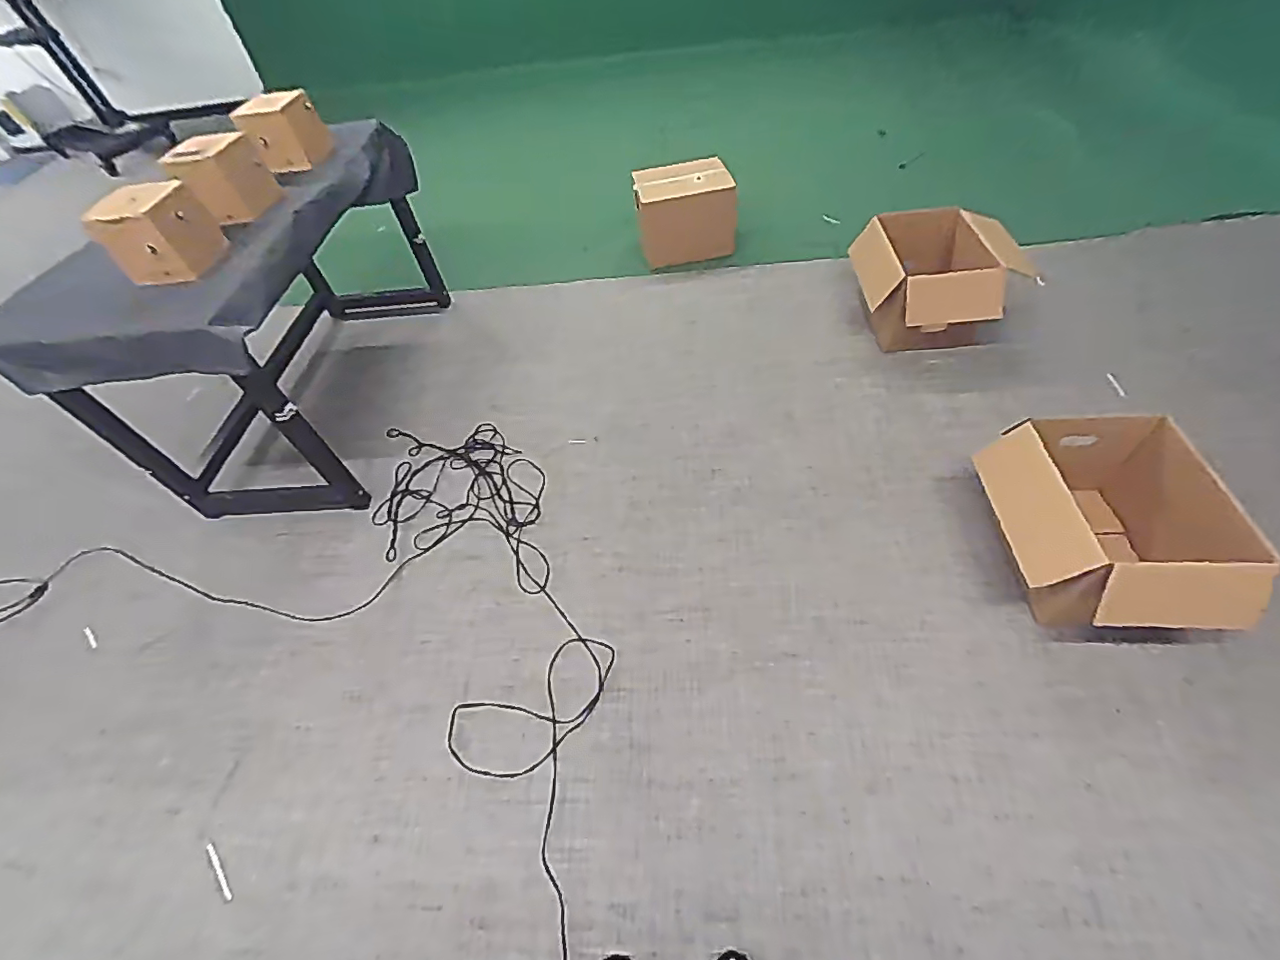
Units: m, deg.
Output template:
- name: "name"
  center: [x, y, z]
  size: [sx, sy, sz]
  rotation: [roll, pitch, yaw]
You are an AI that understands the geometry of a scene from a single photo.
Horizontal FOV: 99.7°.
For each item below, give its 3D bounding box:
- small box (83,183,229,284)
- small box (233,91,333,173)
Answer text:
- name: "small box"
  center: [-1.161, -0.594, 1.318]
  size: [0.168, 0.176, 0.179]
  rotation: [-3, 51, 4]
- name: "small box"
  center: [-1.105, -1.083, 1.694]
  size: [0.168, 0.176, 0.179]
  rotation: [-2, 52, 7]
